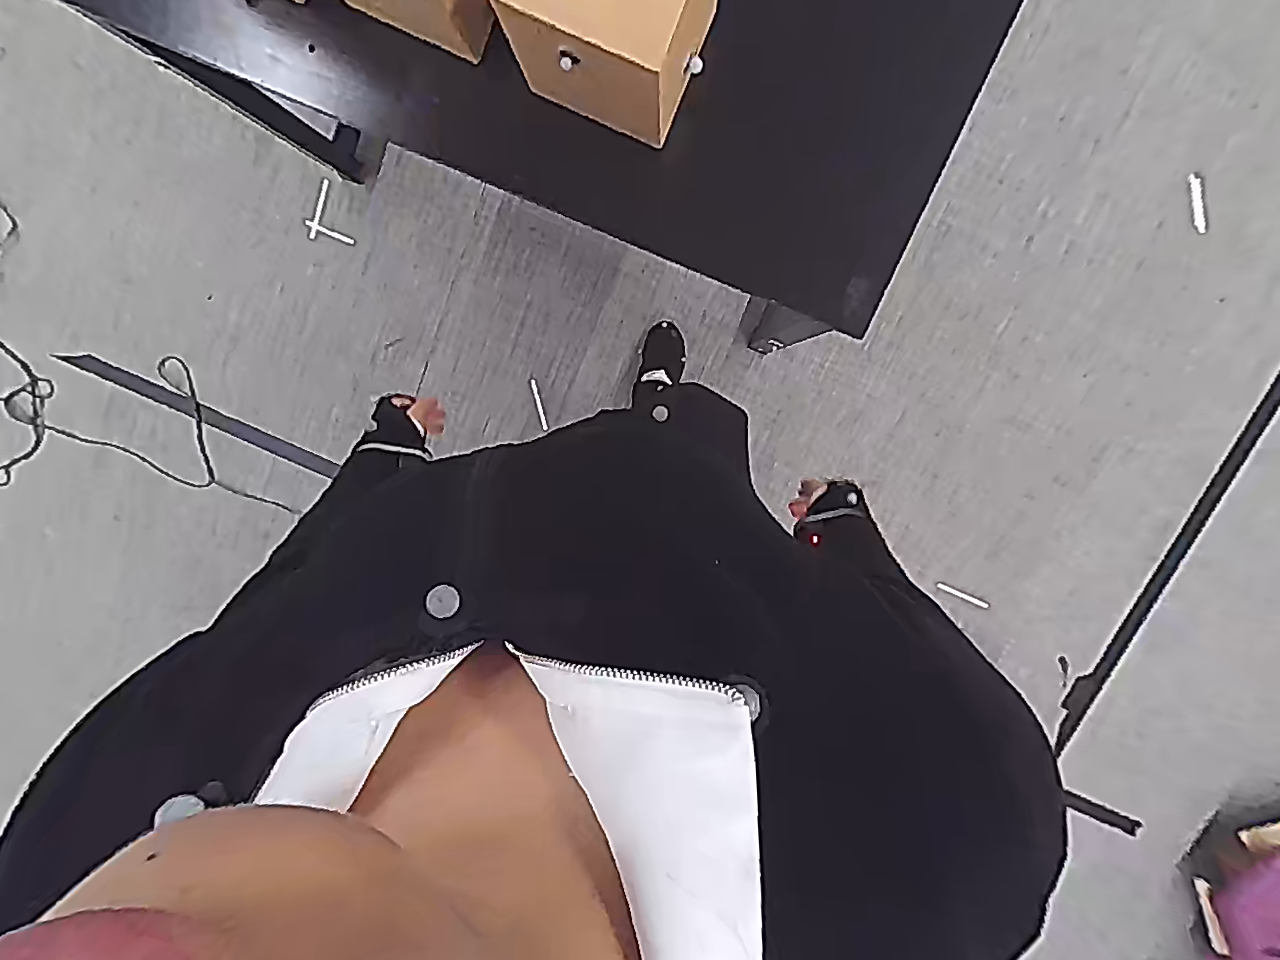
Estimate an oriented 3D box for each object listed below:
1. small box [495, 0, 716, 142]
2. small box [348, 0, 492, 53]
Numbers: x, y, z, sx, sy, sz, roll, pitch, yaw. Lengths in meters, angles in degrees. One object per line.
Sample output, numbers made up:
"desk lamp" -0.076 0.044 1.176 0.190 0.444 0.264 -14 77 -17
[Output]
"small box" -0.027 -0.495 0.564 0.179 0.176 0.168 24 100 -2
"small box" -0.246 -0.595 0.557 0.179 0.176 0.168 24 100 -1
